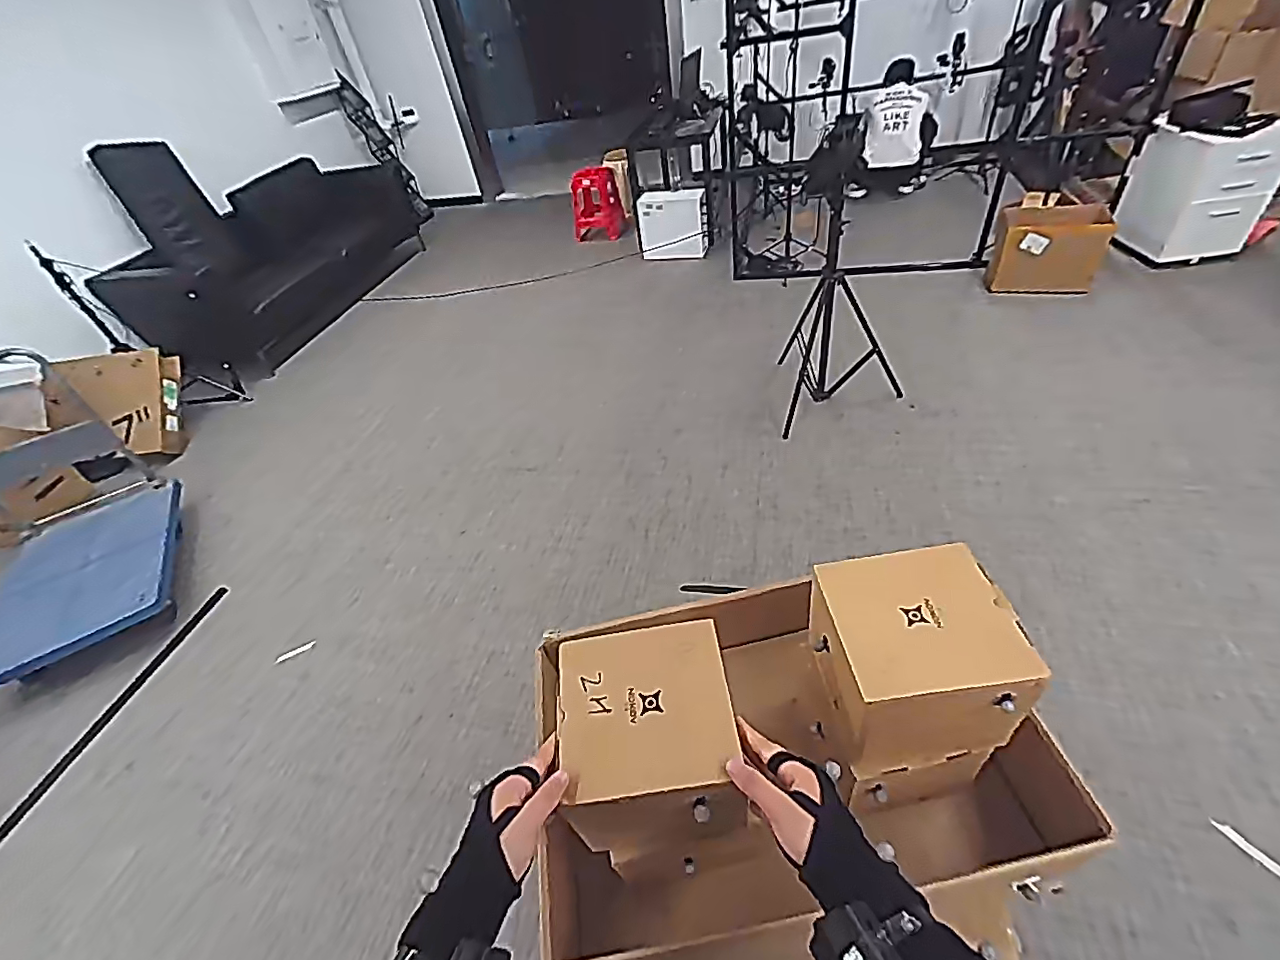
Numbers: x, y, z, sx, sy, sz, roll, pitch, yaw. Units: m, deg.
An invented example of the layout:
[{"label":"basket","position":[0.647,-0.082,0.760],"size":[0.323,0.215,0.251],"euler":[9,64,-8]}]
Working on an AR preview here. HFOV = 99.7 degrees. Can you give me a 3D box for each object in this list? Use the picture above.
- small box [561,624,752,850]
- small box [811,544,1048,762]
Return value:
[{"label":"small box","position":[0.018,0.284,0.594],"size":[0.179,0.176,0.168],"euler":[-10,43,2]},{"label":"small box","position":[0.305,0.201,0.618],"size":[0.179,0.176,0.168],"euler":[-10,43,3]}]
